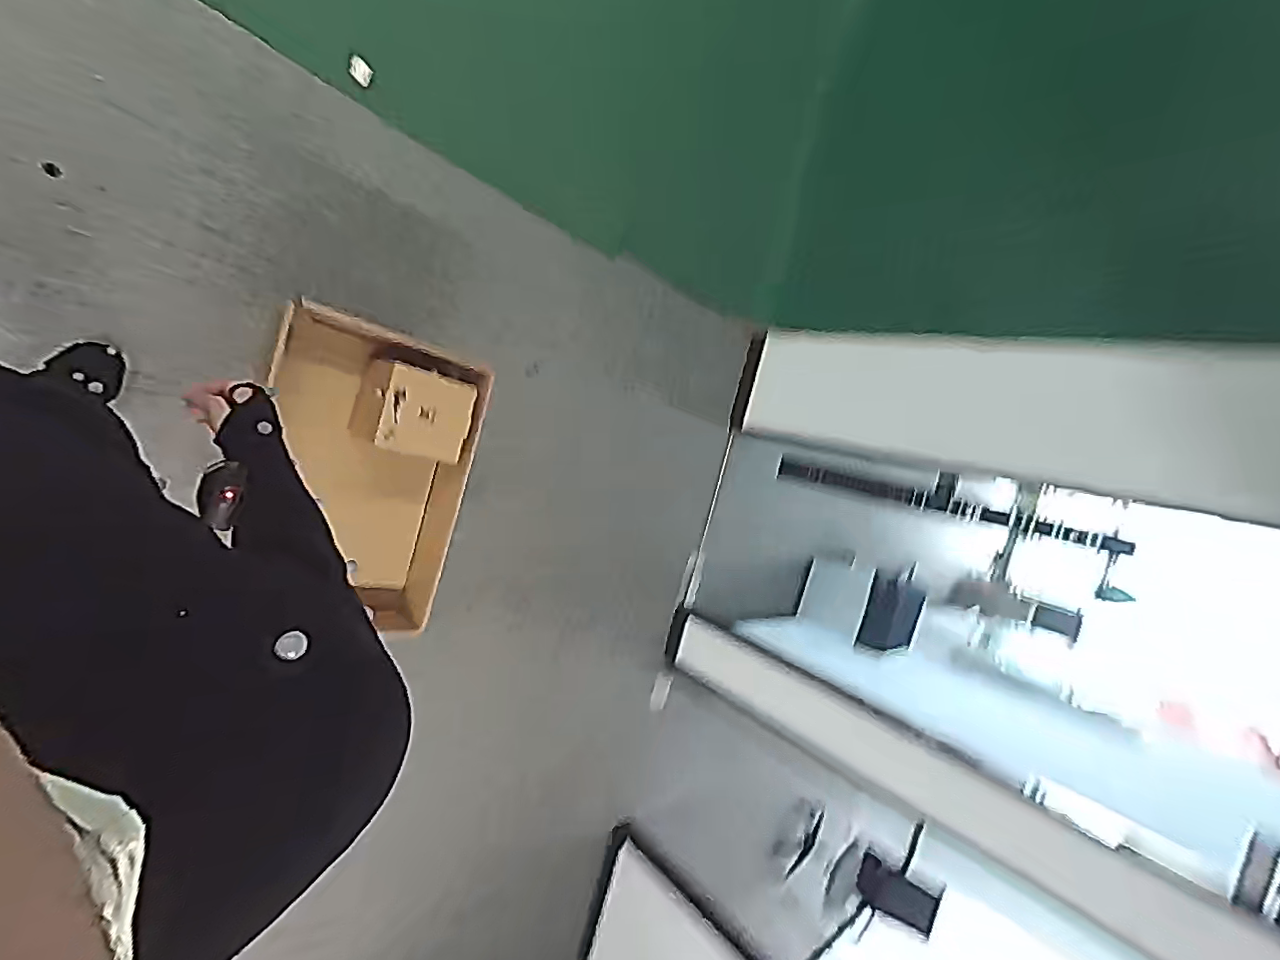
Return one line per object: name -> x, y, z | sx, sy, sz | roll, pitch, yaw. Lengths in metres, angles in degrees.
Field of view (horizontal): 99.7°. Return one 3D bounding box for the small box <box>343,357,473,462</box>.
small box -> -0.486, -0.151, 1.131 | 0.179, 0.176, 0.168 | 17, 91, -46
